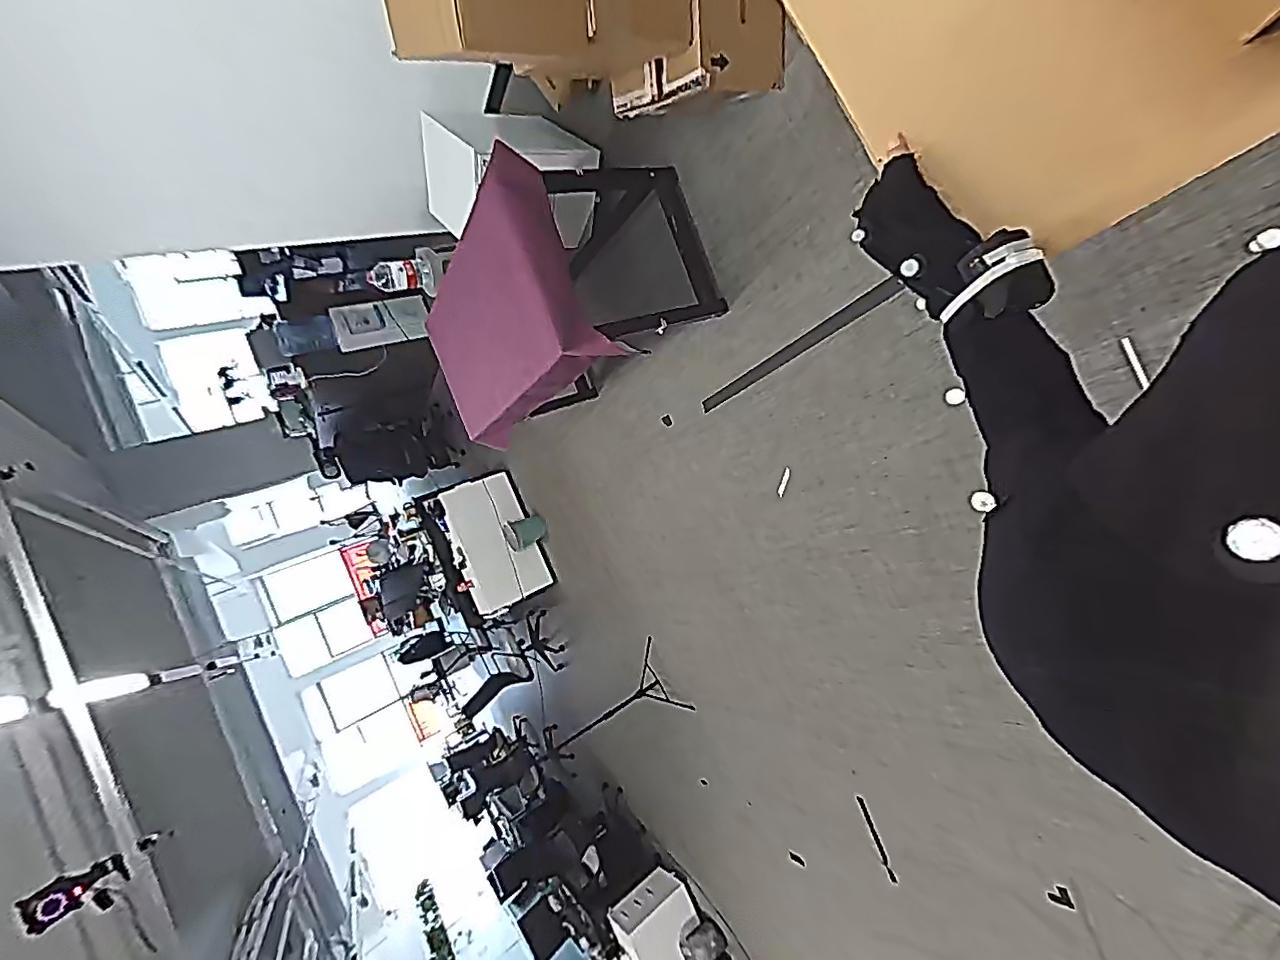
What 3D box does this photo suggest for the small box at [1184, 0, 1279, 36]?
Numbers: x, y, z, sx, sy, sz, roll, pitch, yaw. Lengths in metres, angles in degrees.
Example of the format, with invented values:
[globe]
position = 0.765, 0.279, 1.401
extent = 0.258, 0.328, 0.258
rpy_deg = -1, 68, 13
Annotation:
[small box]
position = 0.363, -0.374, 0.265
extent = 0.168, 0.176, 0.179
rpy_deg = 51, 135, 5
